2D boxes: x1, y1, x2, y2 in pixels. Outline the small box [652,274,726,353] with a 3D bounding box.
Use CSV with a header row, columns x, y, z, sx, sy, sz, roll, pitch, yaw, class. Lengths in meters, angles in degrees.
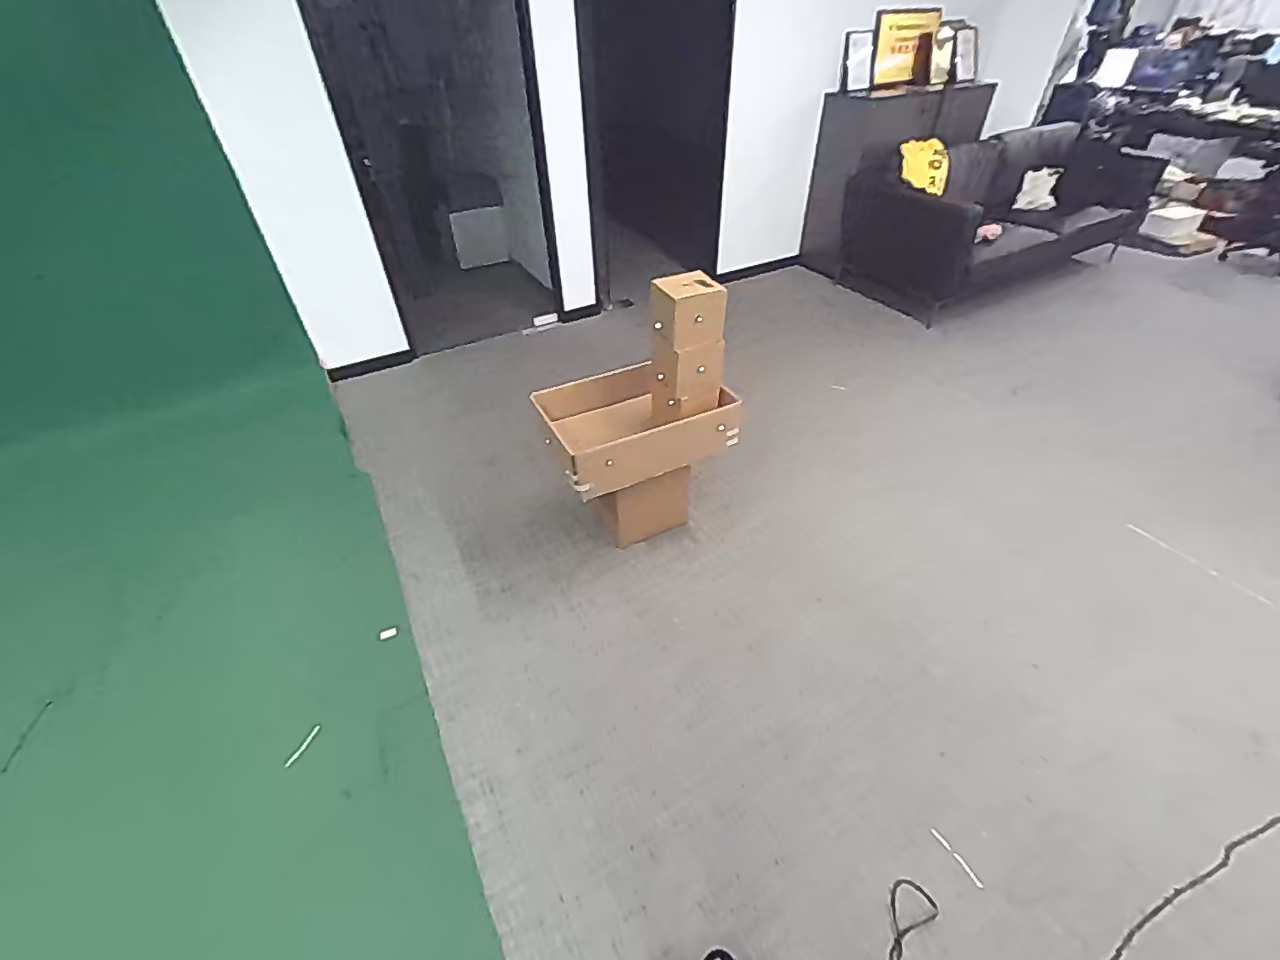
x,y,z,sx,sy,sz,roll,pitch,yaw,class
0.146,-0.515,1.675,0.179,0.176,0.168,-18,43,-17,small box
